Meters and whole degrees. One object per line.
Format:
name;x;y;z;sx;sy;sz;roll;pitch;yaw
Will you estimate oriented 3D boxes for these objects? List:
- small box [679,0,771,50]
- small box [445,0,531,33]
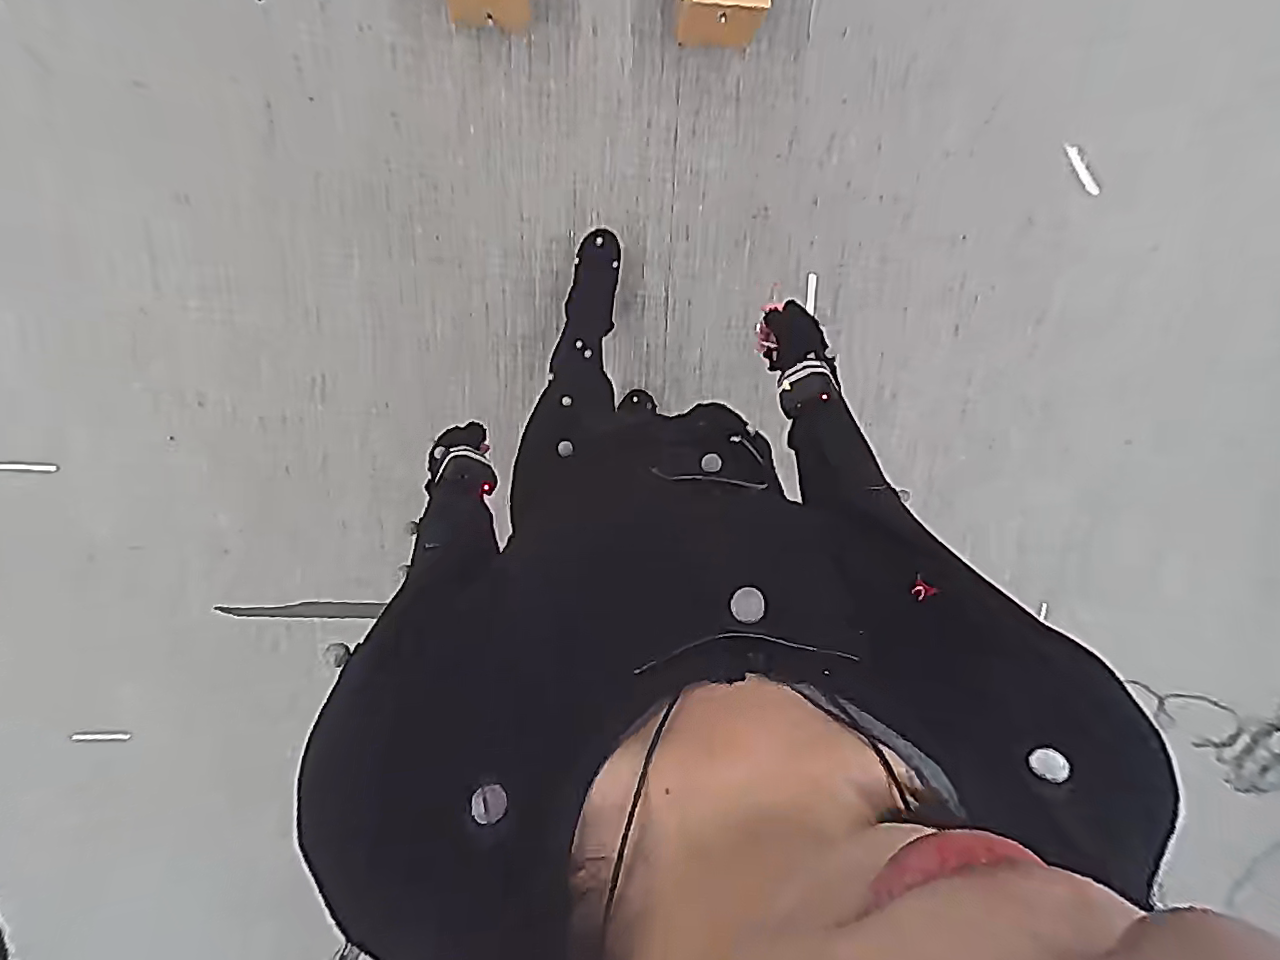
small box;0.185;-1.085;1.190;0.179;0.176;0.168;0;106;-6
small box;-0.325;-1.090;1.146;0.179;0.176;0.168;0;104;-5
